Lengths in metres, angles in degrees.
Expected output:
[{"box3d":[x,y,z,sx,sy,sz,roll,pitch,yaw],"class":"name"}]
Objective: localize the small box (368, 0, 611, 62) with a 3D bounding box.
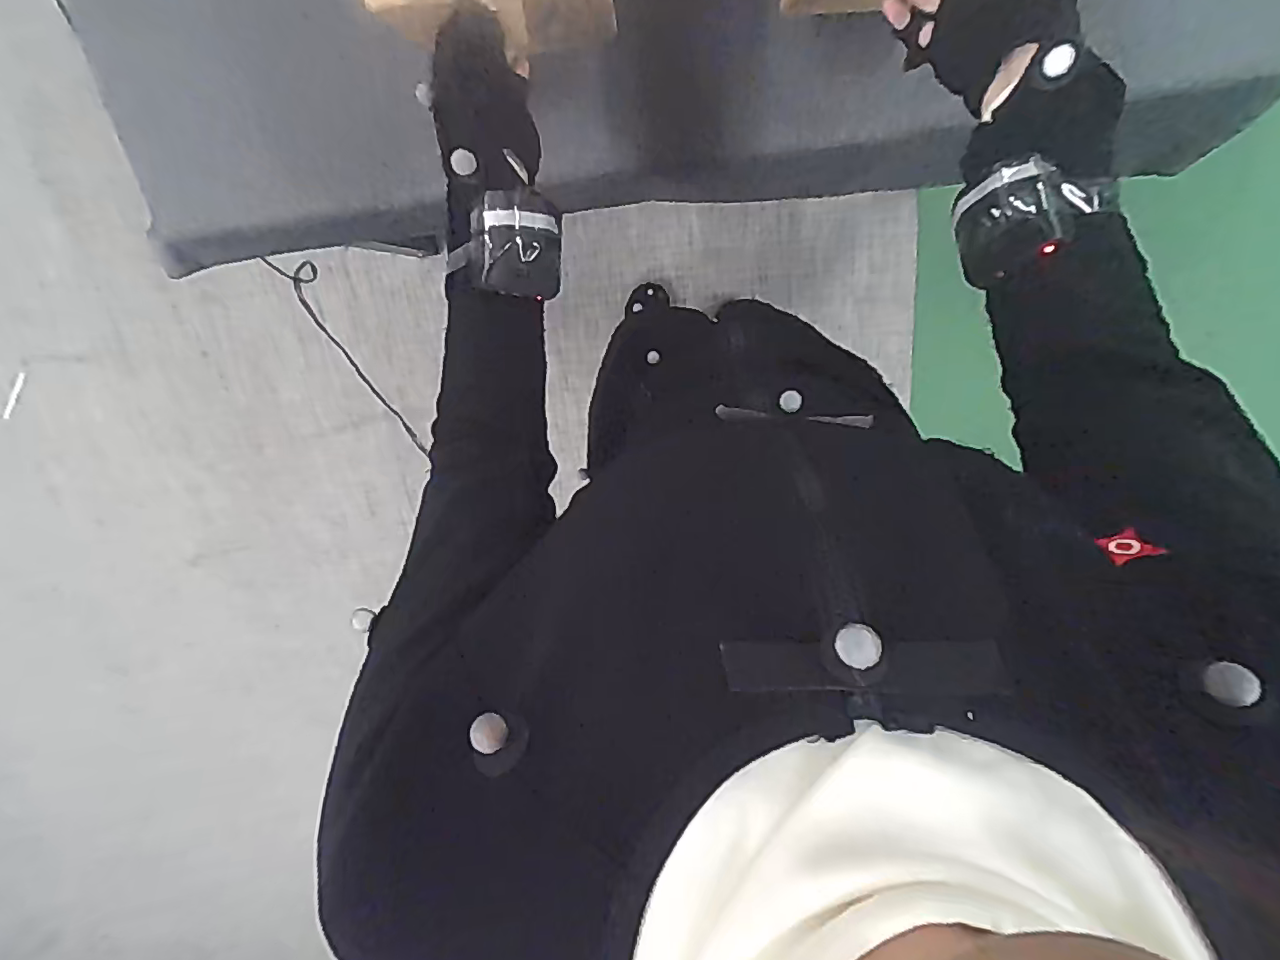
[{"box3d":[-0.121,-0.451,0.412,0.168,0.176,0.179,-8,114,6],"class":"small box"}]
